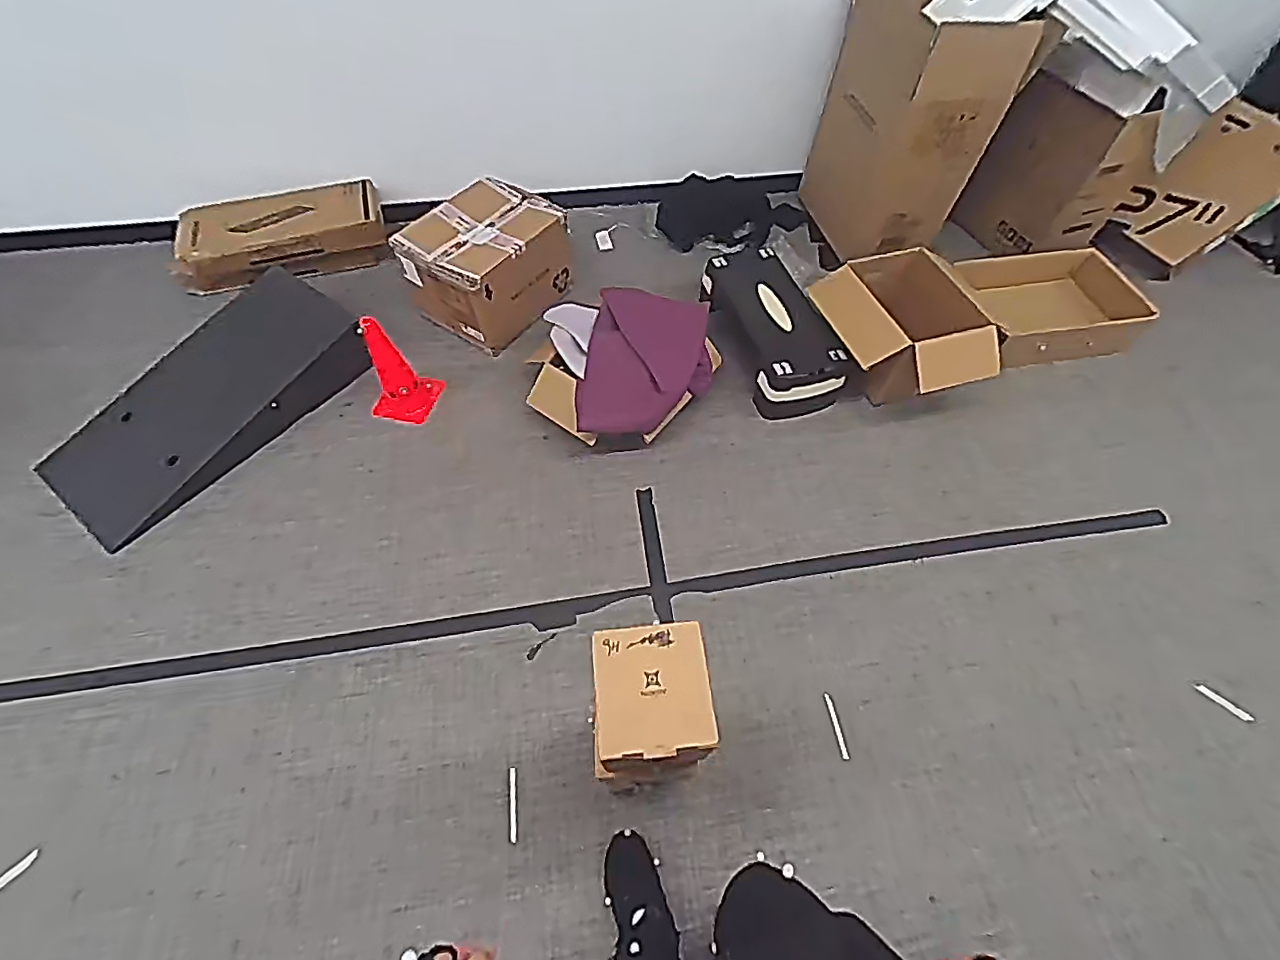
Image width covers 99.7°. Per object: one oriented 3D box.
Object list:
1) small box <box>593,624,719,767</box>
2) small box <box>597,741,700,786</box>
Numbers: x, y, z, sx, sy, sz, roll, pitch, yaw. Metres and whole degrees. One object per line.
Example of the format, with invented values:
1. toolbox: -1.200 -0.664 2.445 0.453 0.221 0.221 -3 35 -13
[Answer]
1. small box: 0.019 0.336 0.830 0.168 0.176 0.179 -5 59 -3
2. small box: 0.009 0.437 0.960 0.168 0.176 0.179 -2 59 -1
